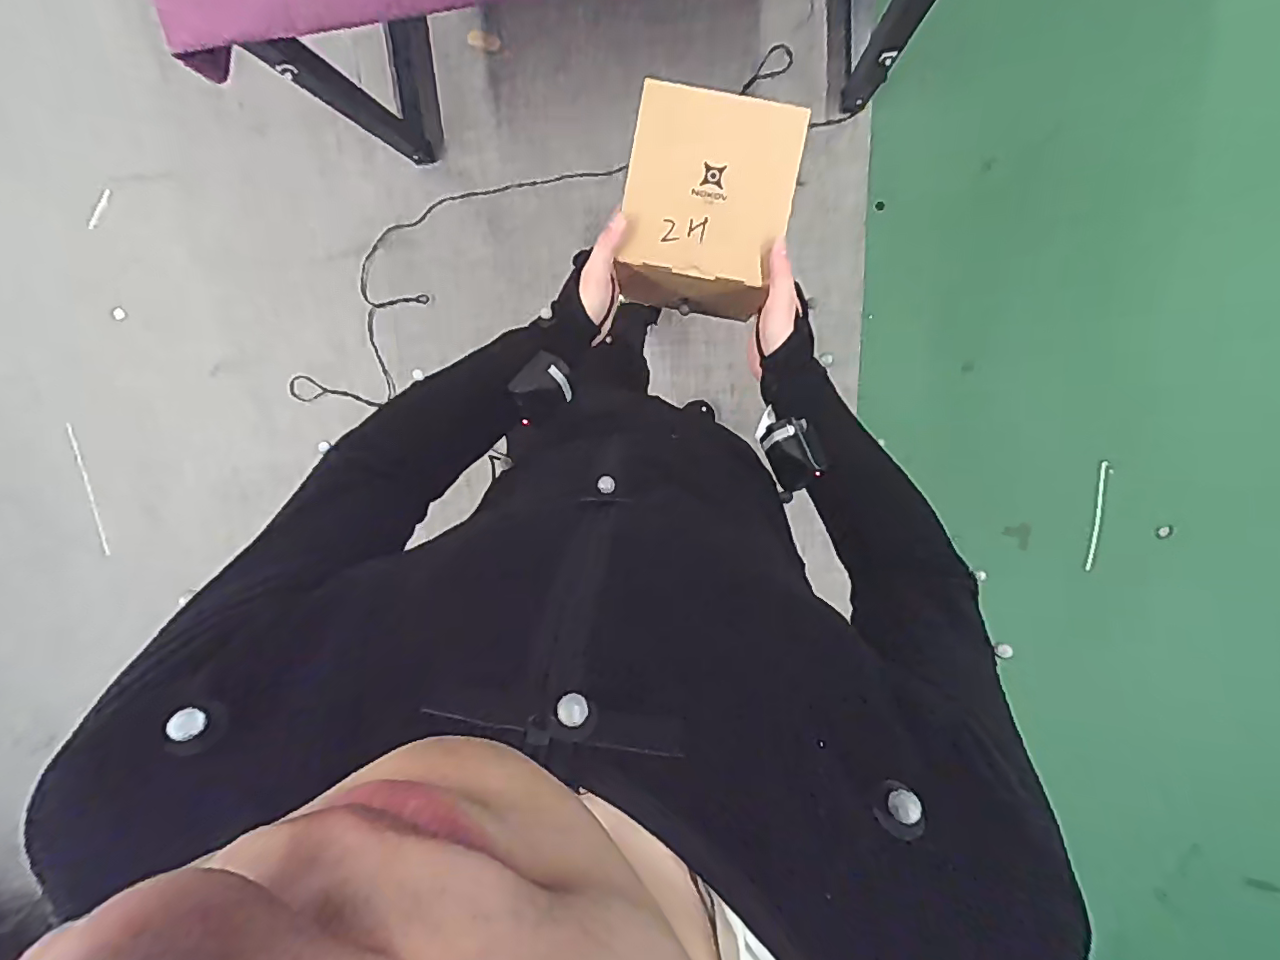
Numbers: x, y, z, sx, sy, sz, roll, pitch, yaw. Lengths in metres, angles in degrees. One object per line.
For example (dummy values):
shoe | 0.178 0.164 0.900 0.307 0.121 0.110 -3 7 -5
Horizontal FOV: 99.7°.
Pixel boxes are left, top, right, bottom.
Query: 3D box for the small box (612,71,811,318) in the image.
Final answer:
small box | 0.071 -0.298 0.602 0.168 0.176 0.179 12 96 2
